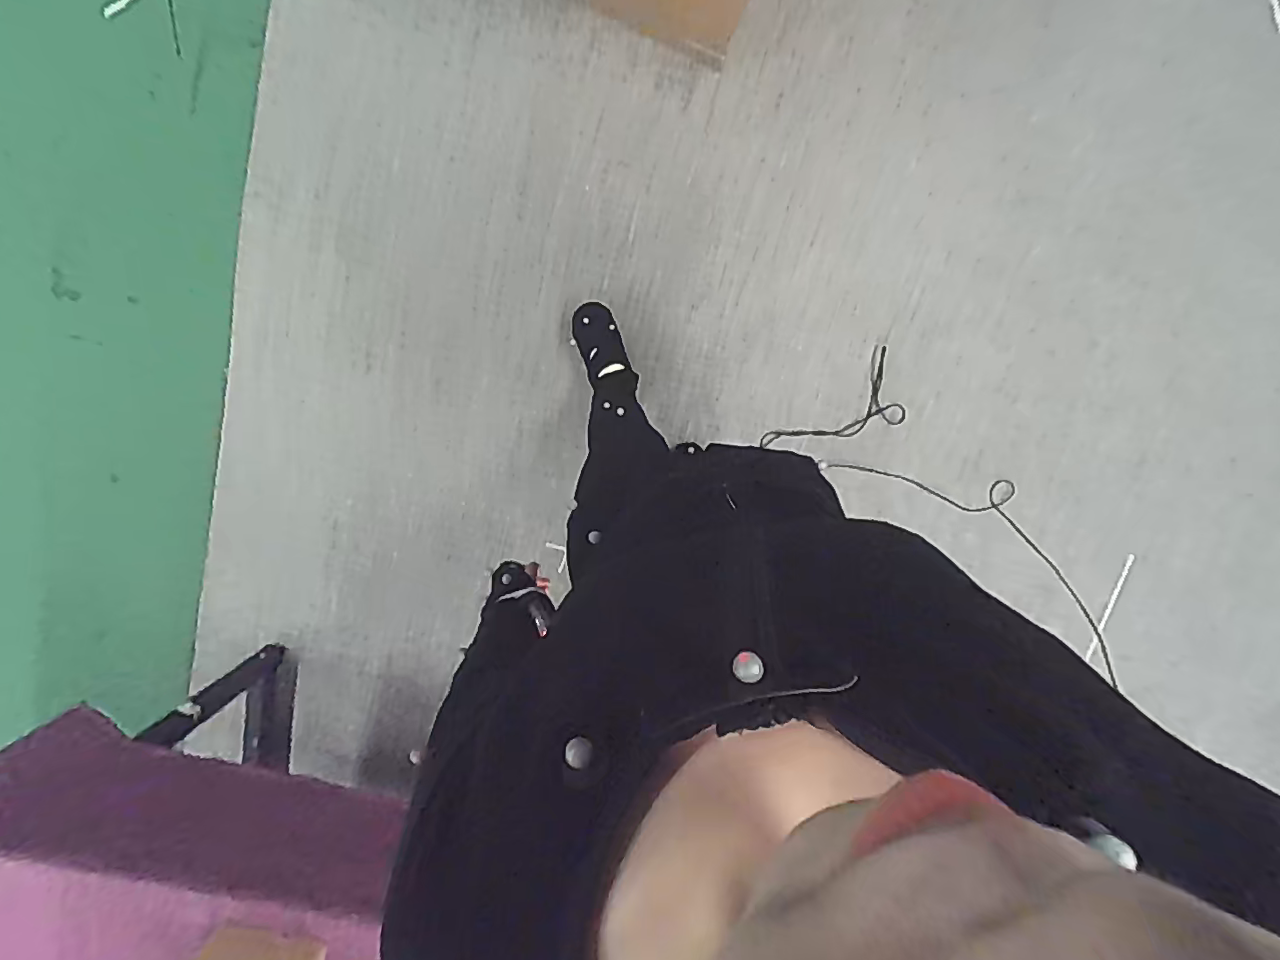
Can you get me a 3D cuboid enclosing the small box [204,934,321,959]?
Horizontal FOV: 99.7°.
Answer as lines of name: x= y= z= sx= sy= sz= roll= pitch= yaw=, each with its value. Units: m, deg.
small box: x=-0.616 y=0.840 z=0.815 sx=0.179 sy=0.176 sz=0.168 roll=14 pitch=100 yaw=-2
